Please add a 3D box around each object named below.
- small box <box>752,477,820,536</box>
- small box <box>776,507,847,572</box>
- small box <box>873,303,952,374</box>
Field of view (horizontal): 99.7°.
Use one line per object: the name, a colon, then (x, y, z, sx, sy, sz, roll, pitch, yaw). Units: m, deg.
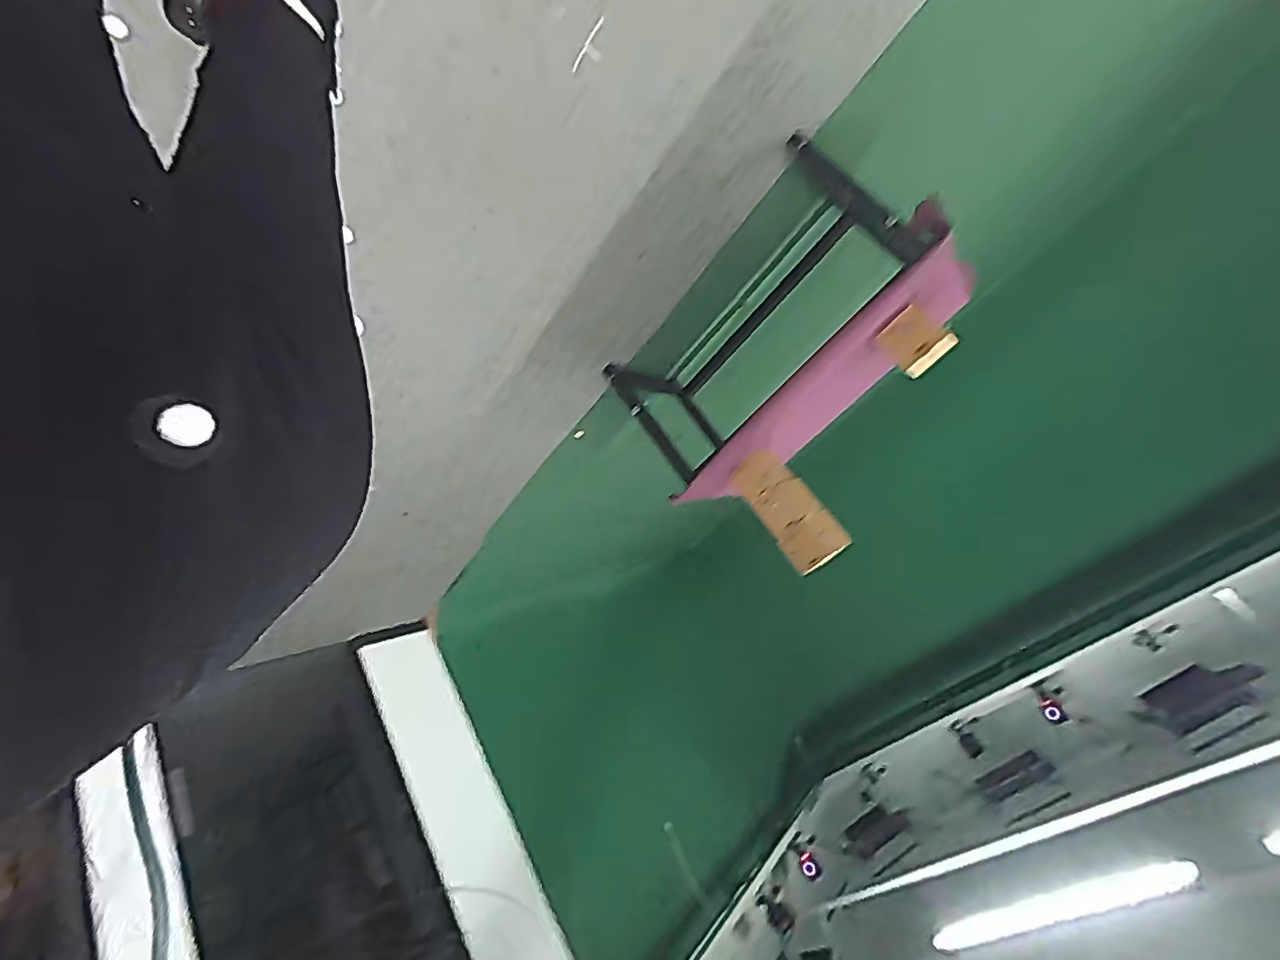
small box: (0.591, 0.102, 2.194, 0.179, 0.176, 0.168, -5, 144, -52)
small box: (0.674, 0.231, 2.140, 0.179, 0.176, 0.168, -15, 152, -43)
small box: (0.959, -0.499, 1.908, 0.179, 0.176, 0.168, -2, 143, -52)
